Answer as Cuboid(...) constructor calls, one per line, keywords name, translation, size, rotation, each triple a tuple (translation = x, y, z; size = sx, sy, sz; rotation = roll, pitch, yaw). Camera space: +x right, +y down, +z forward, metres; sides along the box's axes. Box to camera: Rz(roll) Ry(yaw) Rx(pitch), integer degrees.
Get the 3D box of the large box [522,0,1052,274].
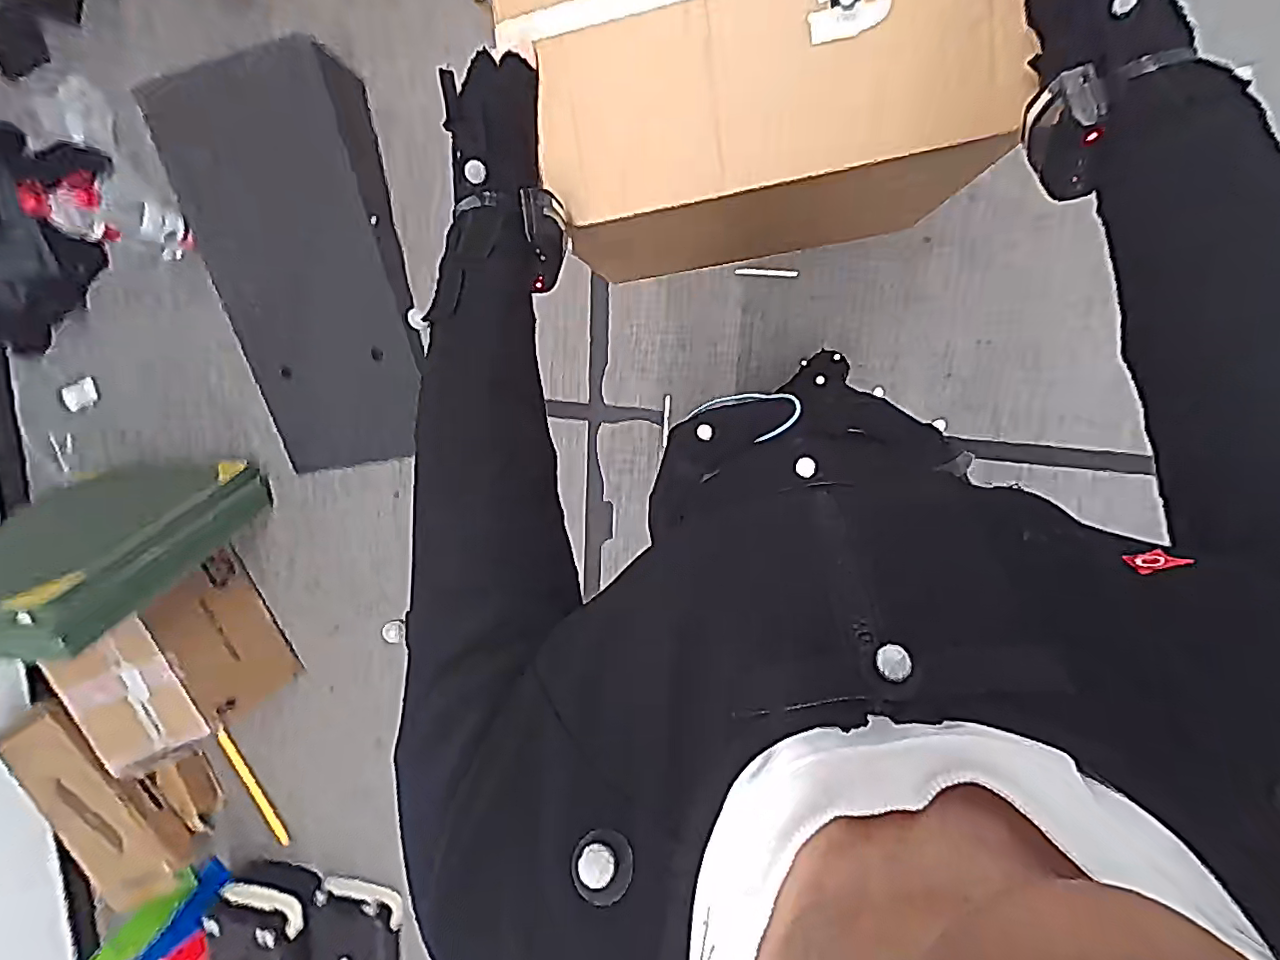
Cuboid(name="large box", translation=(0.117, -0.433, 0.564), size=(0.408, 0.320, 0.320), rotation=(-7, 101, 10))
